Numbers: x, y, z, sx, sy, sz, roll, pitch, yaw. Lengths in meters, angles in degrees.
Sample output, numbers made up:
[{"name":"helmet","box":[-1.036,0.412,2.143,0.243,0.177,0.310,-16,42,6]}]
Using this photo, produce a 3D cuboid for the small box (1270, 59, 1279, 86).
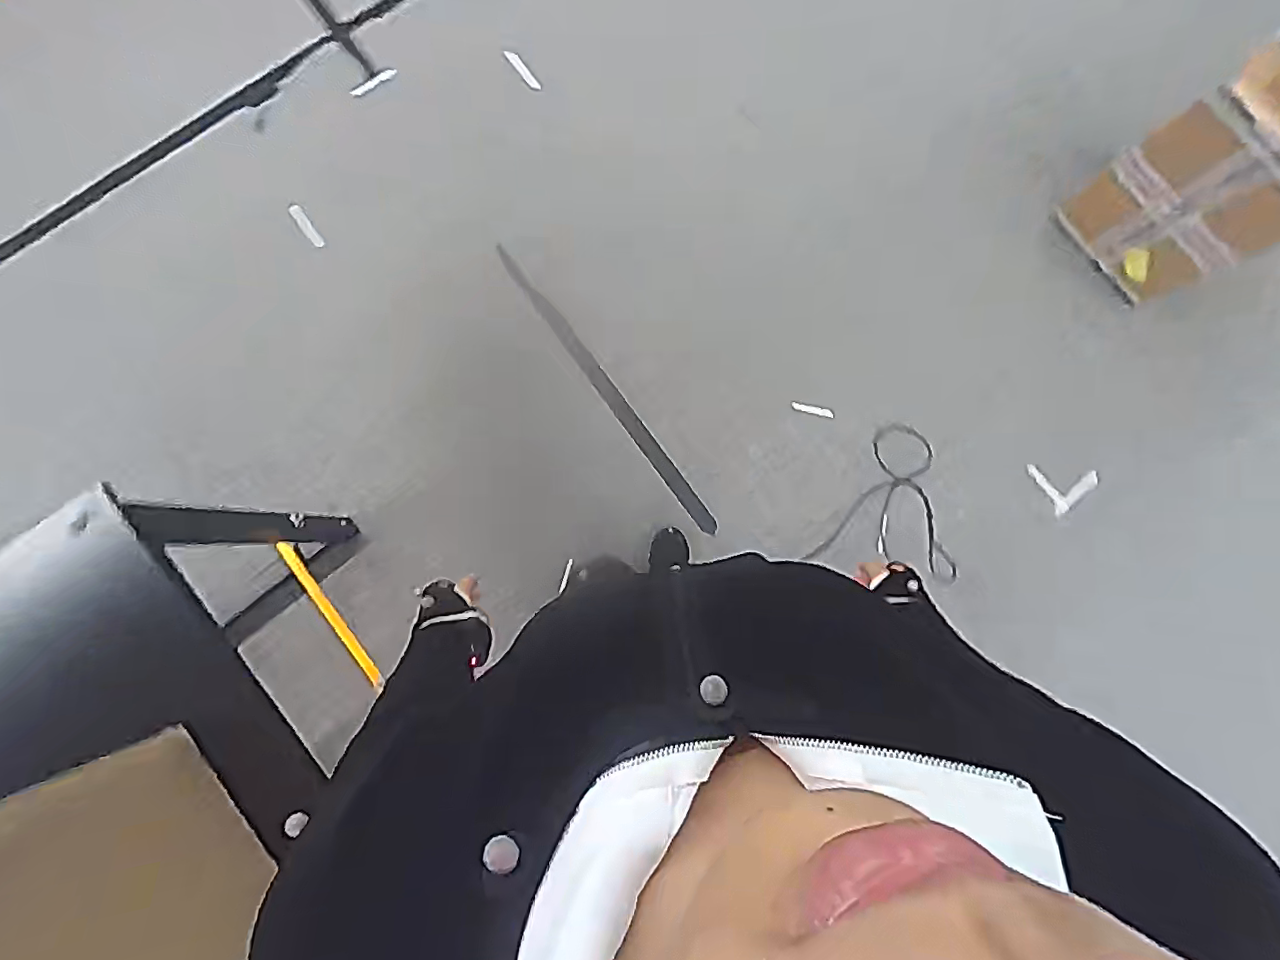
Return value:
[{"name":"small box","box":[1.466,-0.882,1.086,0.179,0.176,0.168,-40,85,-2]}]
